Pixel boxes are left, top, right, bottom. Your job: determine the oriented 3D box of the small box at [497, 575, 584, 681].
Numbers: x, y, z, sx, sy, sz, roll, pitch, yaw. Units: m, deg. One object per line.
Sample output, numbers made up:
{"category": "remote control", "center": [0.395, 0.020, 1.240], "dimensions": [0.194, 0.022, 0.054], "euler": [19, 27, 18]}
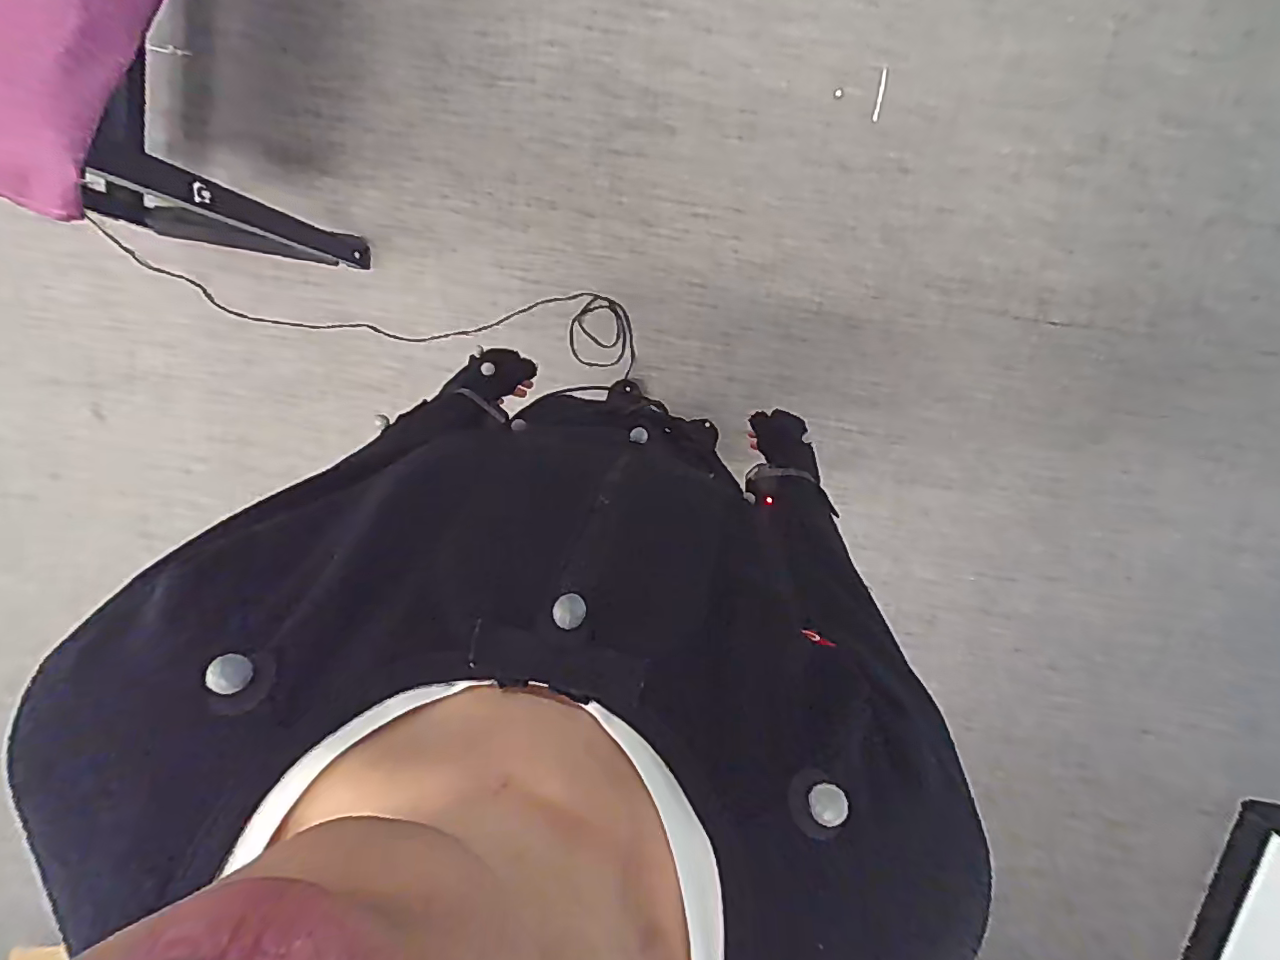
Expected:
{"category": "small box", "center": [-0.234, 0.350, 1.303], "dimensions": [0.168, 0.176, 0.179], "euler": [9, 101, 0]}
